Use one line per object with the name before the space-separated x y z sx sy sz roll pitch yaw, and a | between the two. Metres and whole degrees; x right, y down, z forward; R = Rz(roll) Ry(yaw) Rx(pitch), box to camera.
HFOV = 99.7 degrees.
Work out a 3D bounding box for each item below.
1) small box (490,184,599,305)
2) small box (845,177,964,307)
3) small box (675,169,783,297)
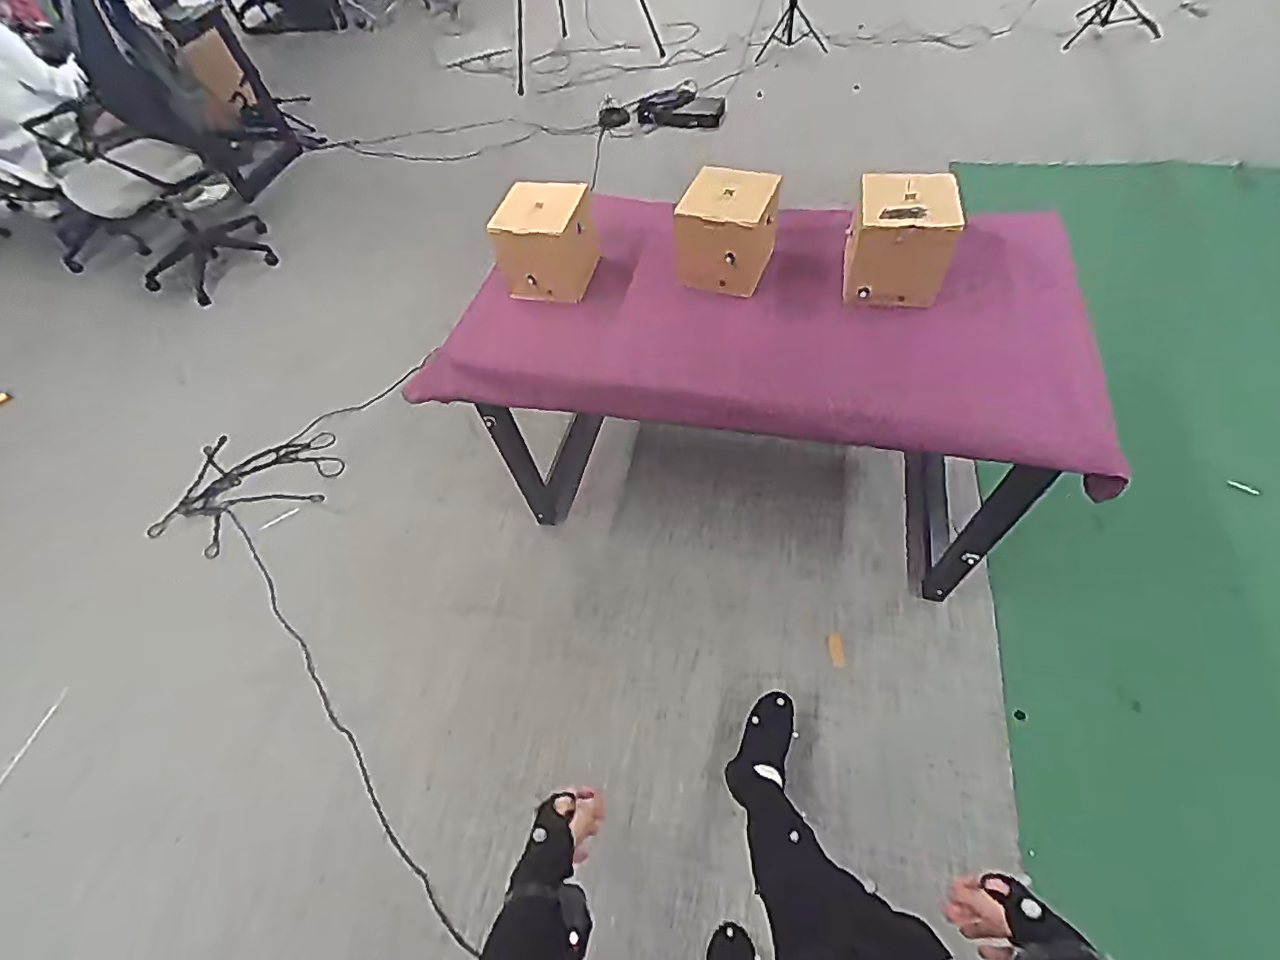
small box | -0.193 -0.506 1.162 0.168 0.176 0.179 9 59 13
small box | 0.496 -0.452 1.035 0.168 0.176 0.179 7 57 12
small box | 0.183 -0.504 1.112 0.168 0.176 0.179 18 60 18
